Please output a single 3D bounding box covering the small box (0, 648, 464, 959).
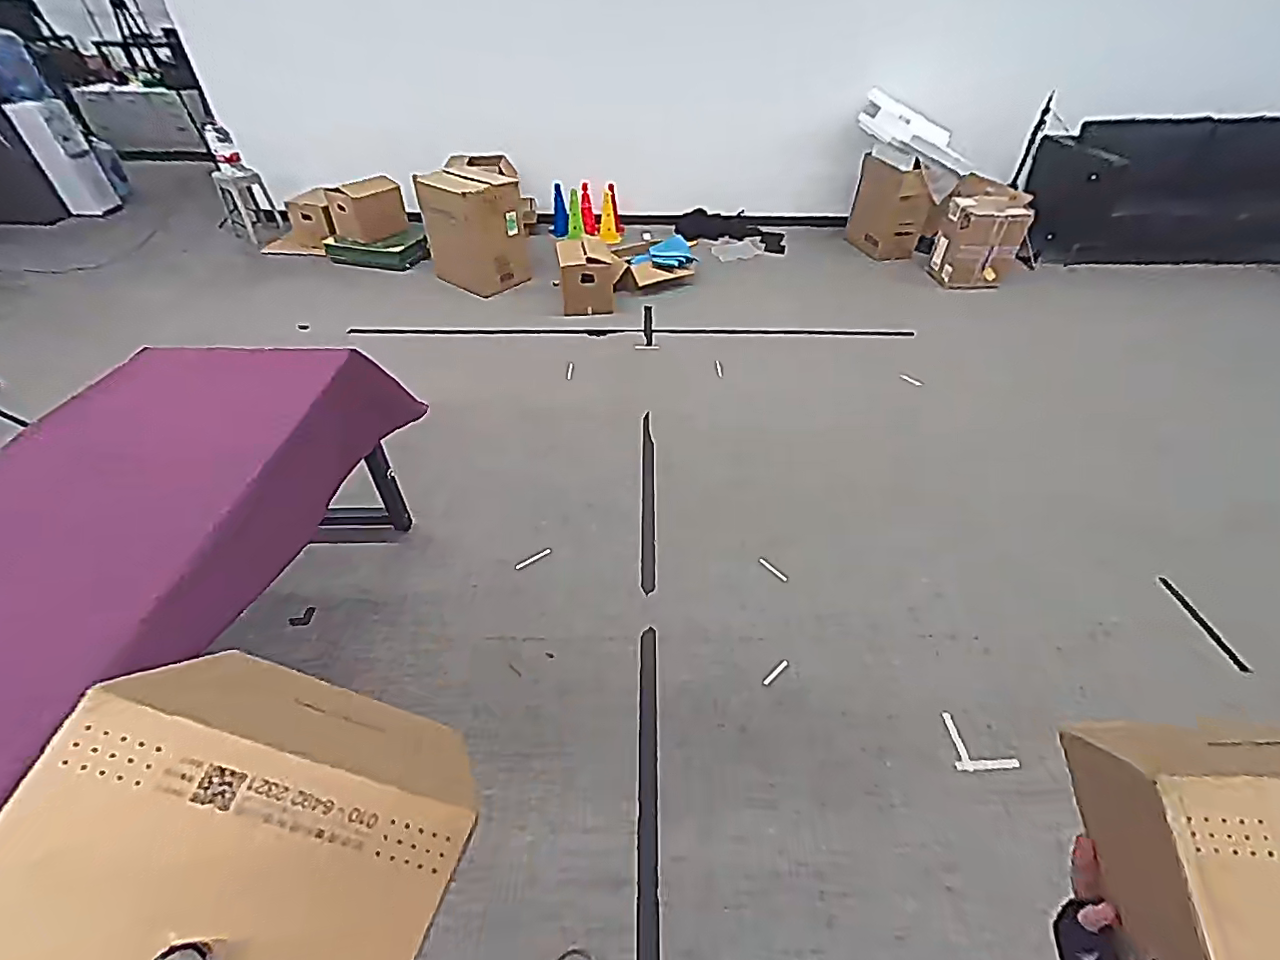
[{"bbox_3d":[-0.204,0.195,0.273,0.168,0.179,0.176,27,68,-13],"label":"small box"}]

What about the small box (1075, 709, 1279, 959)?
[{"bbox_3d":[0.363,0.219,0.279,0.168,0.179,0.176,-10,72,23],"label":"small box"}]
